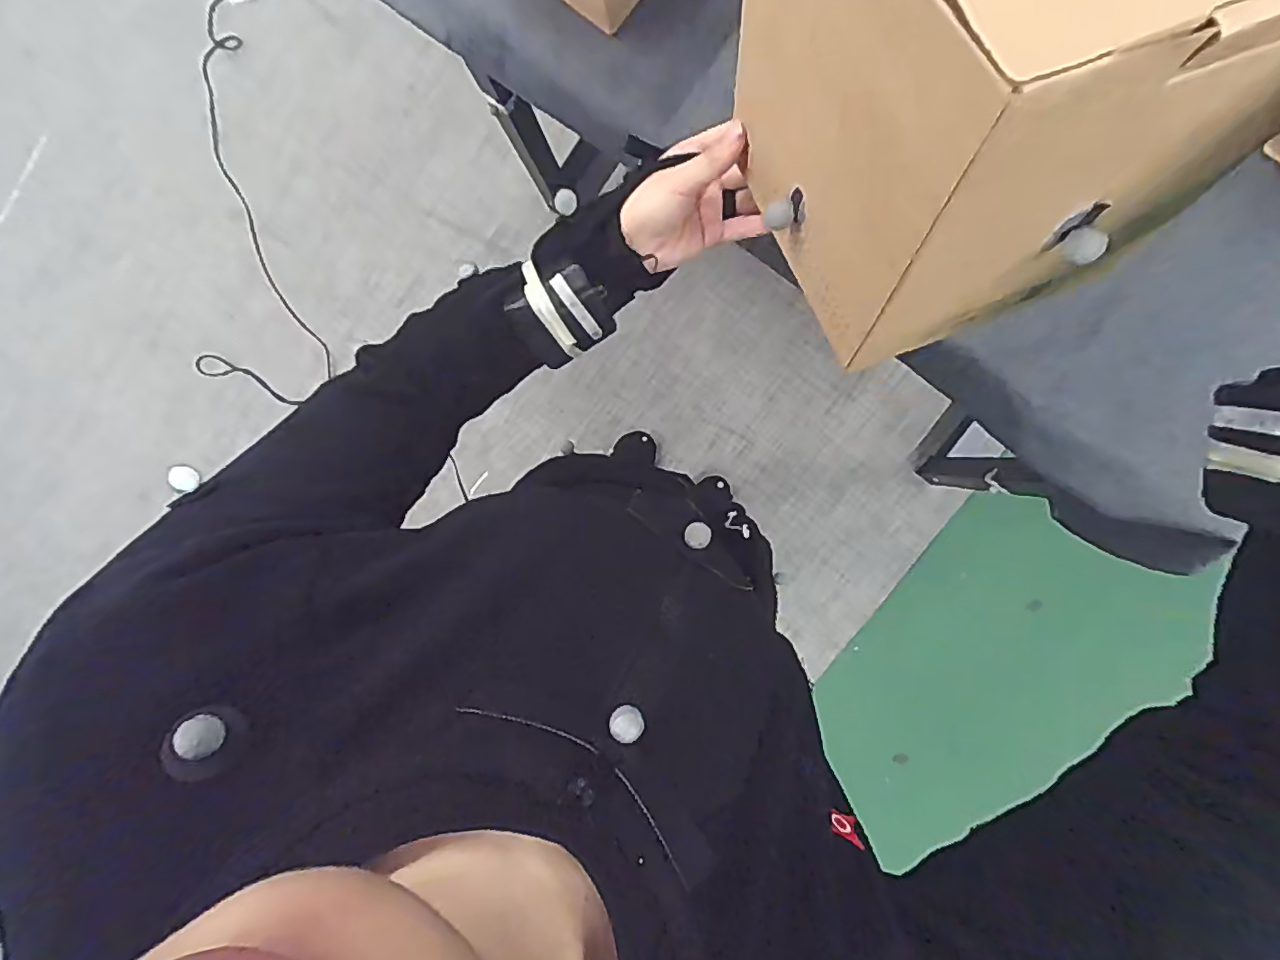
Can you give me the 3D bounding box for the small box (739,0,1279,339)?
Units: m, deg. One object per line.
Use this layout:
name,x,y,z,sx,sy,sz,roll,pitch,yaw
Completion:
small box,0.157,-0.189,0.252,0.168,0.176,0.179,-20,74,-1

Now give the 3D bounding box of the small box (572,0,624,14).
small box,-0.054,-0.618,0.525,0.179,0.176,0.168,39,93,1
